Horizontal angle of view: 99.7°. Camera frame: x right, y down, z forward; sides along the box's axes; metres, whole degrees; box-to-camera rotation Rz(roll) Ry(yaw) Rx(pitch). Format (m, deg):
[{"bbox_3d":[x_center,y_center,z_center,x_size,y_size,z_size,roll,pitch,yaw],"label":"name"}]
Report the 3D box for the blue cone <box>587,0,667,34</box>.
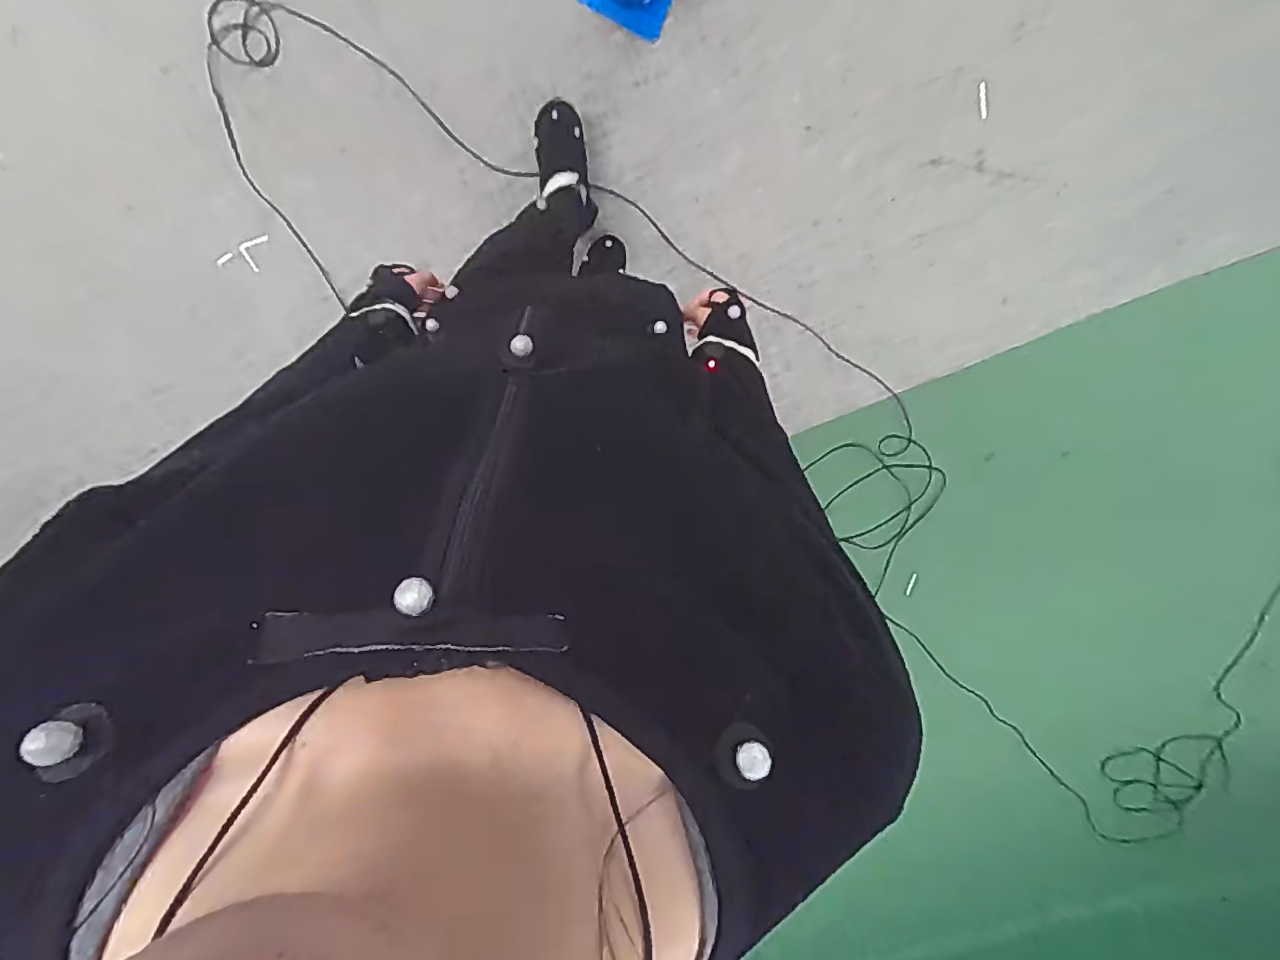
[{"bbox_3d":[-0.009,-0.945,0.907,0.192,0.380,0.193,20,112,-11],"label":"blue cone"}]
